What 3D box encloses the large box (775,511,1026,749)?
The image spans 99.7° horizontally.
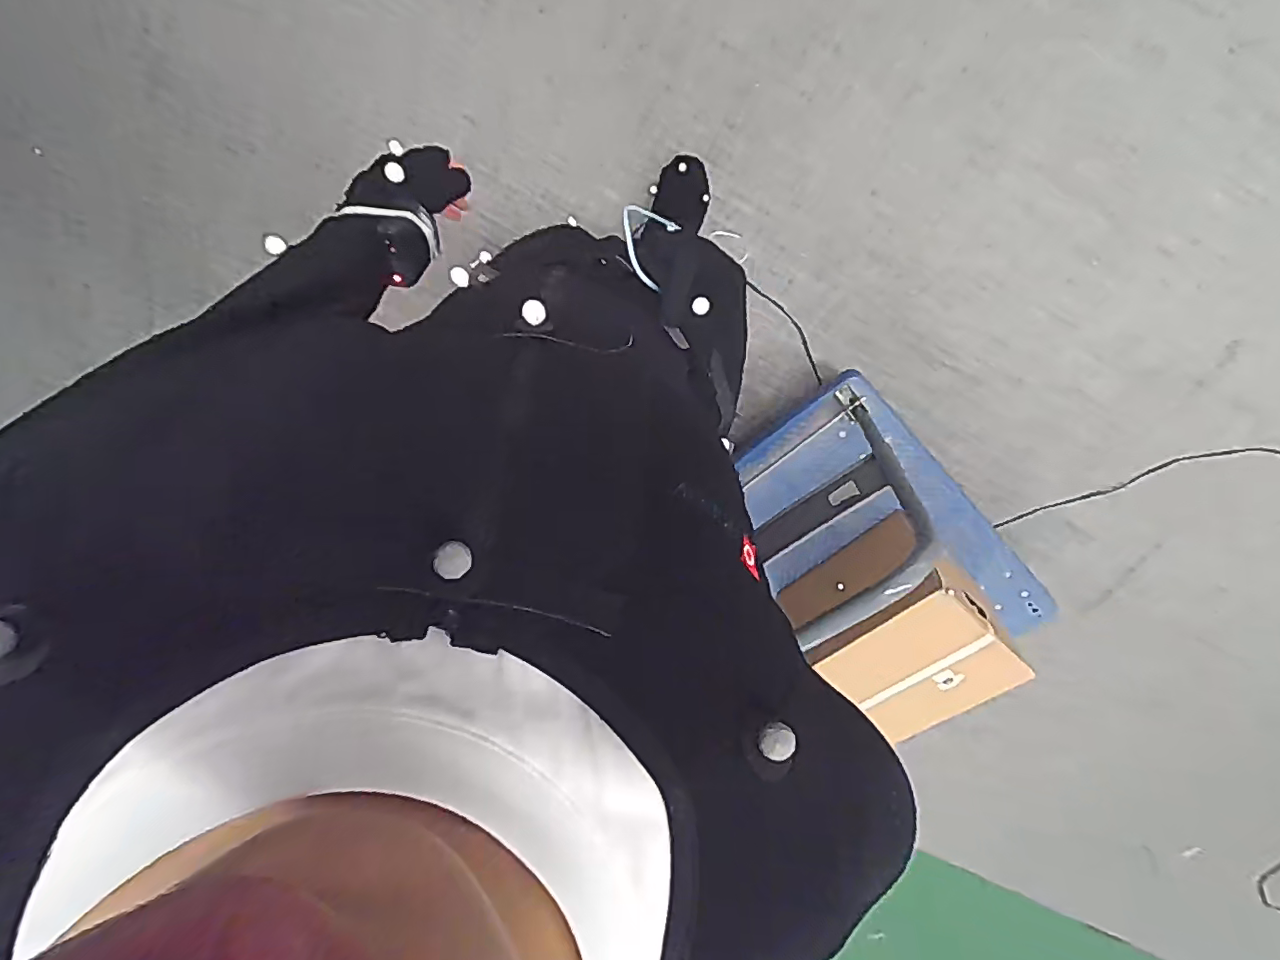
[{"bbox_3d":[0.587,0.357,1.307,0.320,0.320,0.408,40,115,-13],"label":"large box"}]
